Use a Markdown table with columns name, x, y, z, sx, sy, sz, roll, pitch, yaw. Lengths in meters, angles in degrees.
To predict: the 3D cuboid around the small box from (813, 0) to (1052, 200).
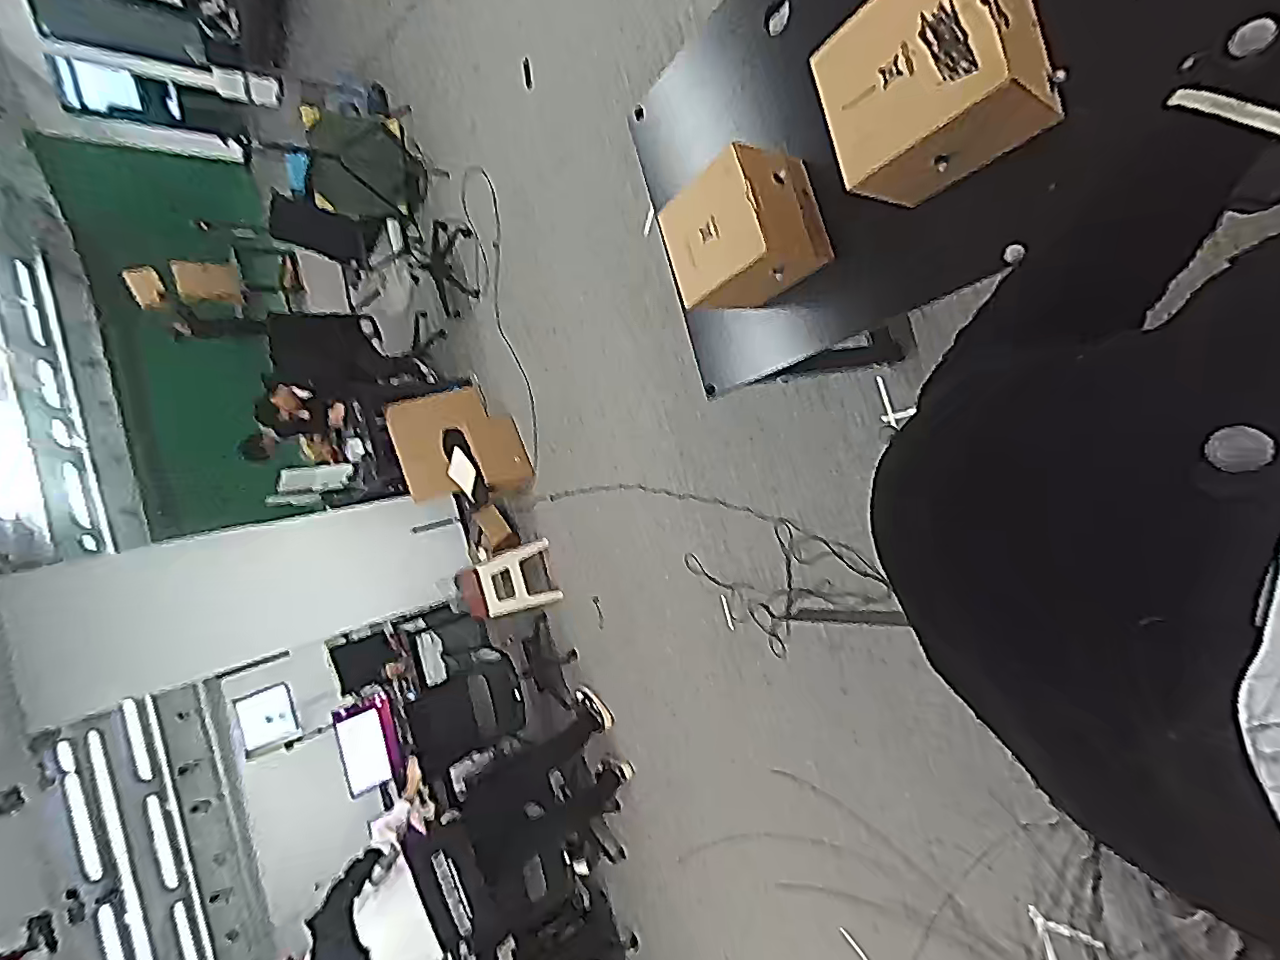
| name | x | y | z | sx | sy | sz | roll | pitch | yaw |
| --- | --- | --- | --- | --- | --- | --- | --- | --- | --- |
| small box | 0.335 | -0.450 | 0.617 | 0.179 | 0.176 | 0.168 | -16 | 88 | 54 |

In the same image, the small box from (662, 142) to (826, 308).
| name | x | y | z | sx | sy | sz | roll | pitch | yaw |
| --- | --- | --- | --- | --- | --- | --- | --- | --- | --- |
| small box | 0.168 | -0.387 | 0.852 | 0.179 | 0.176 | 0.168 | -22 | 83 | 53 |
